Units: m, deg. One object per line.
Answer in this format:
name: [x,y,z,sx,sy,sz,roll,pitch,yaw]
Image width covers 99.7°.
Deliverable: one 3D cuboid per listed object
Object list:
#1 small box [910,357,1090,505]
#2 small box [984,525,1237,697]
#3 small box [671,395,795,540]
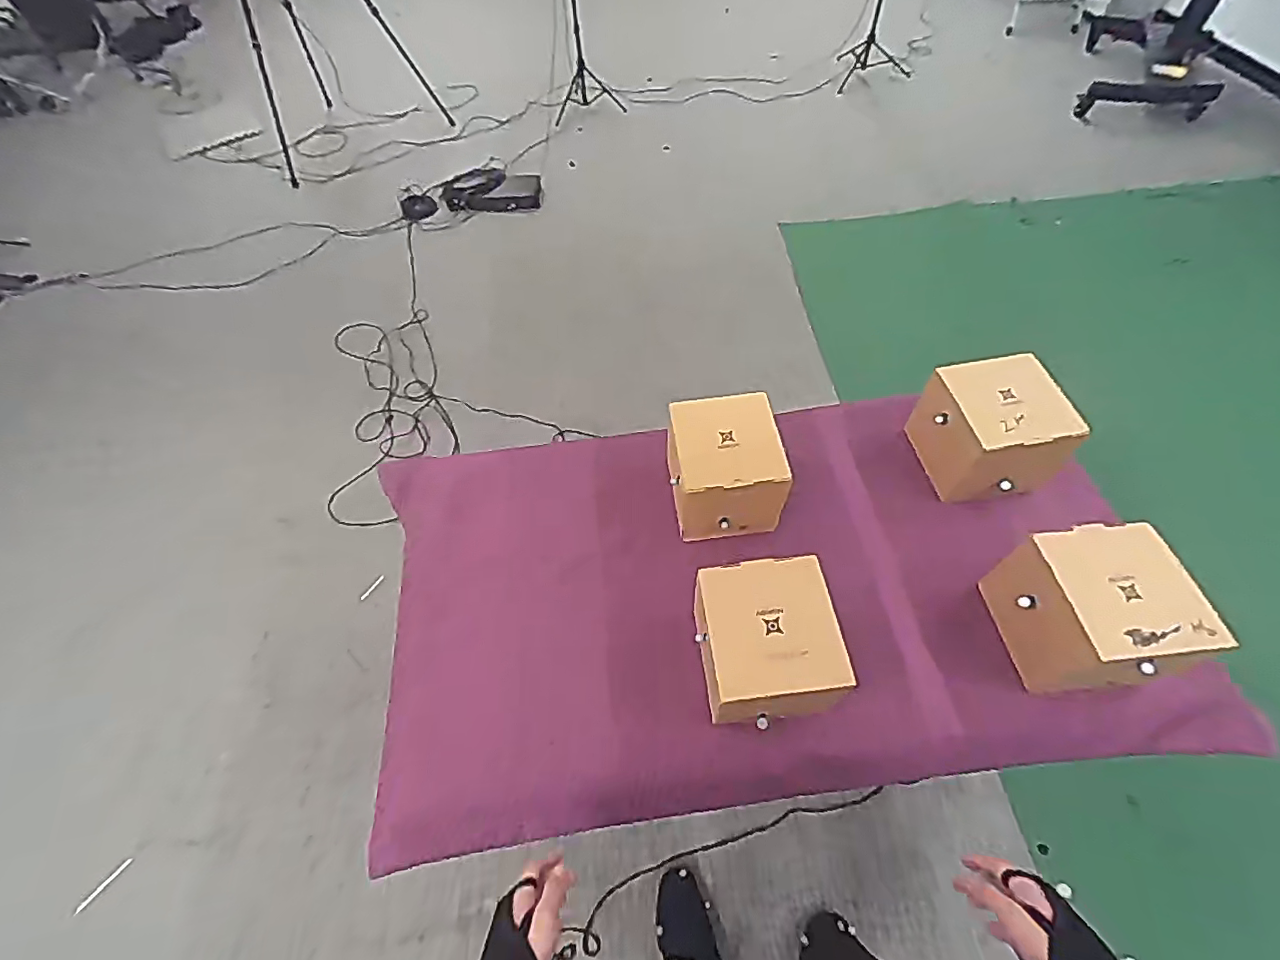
small box: [0.595,-0.081,0.927,0.168,0.176,0.179,-9,57,1]
small box: [0.625,0.185,0.753,0.168,0.176,0.179,-6,54,1]
small box: [0.145,-0.019,0.917,0.168,0.176,0.179,-7,58,-2]
